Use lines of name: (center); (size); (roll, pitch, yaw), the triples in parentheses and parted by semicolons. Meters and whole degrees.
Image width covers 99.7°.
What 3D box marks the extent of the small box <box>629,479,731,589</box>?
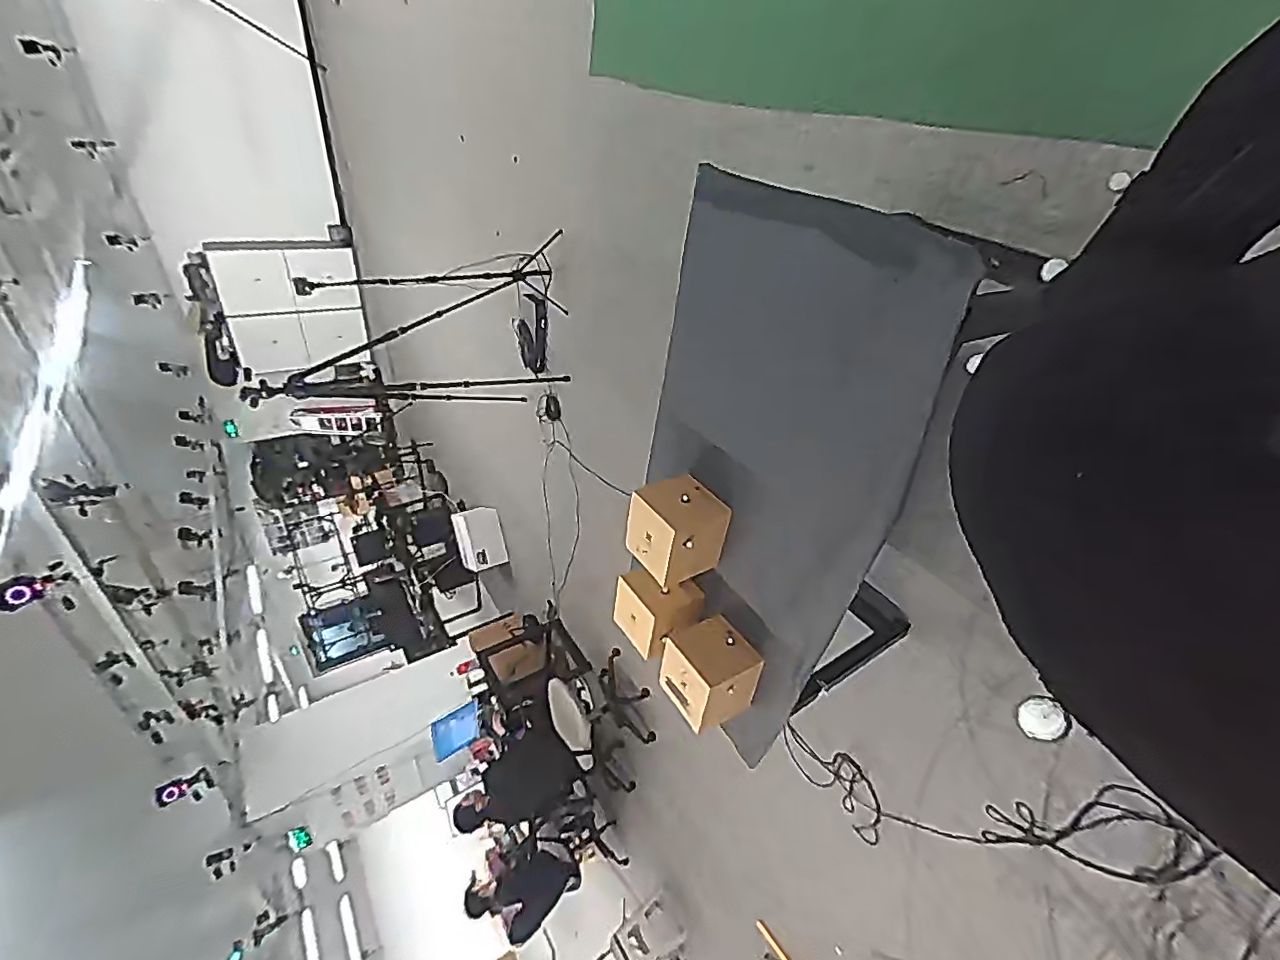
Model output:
small box: (0.094, 0.120, 1.280); (0.168, 0.176, 0.179); (44, 138, 41)

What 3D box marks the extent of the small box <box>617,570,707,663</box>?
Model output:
small box: (0.059, 0.347, 1.451); (0.168, 0.176, 0.179); (43, 138, 41)
